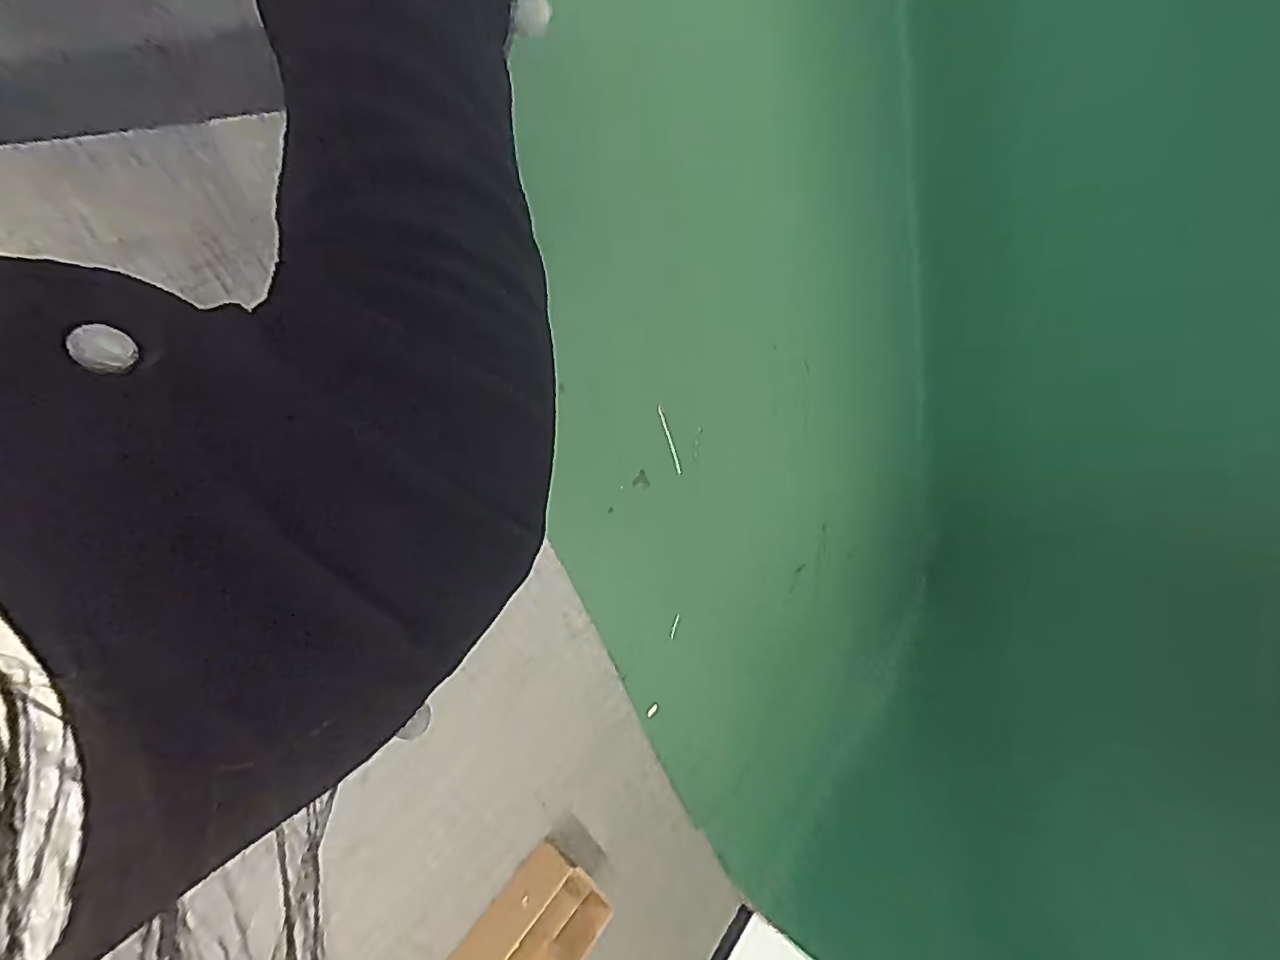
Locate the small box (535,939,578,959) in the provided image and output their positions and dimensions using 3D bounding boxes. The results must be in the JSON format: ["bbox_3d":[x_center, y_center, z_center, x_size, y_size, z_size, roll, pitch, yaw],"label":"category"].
[{"bbox_3d":[-0.269,1.670,1.777,0.168,0.176,0.179,-47,128,-28],"label":"small box"}]

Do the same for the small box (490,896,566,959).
[{"bbox_3d":[-0.398,1.626,1.894,0.179,0.176,0.168,-44,128,-32],"label":"small box"}]
